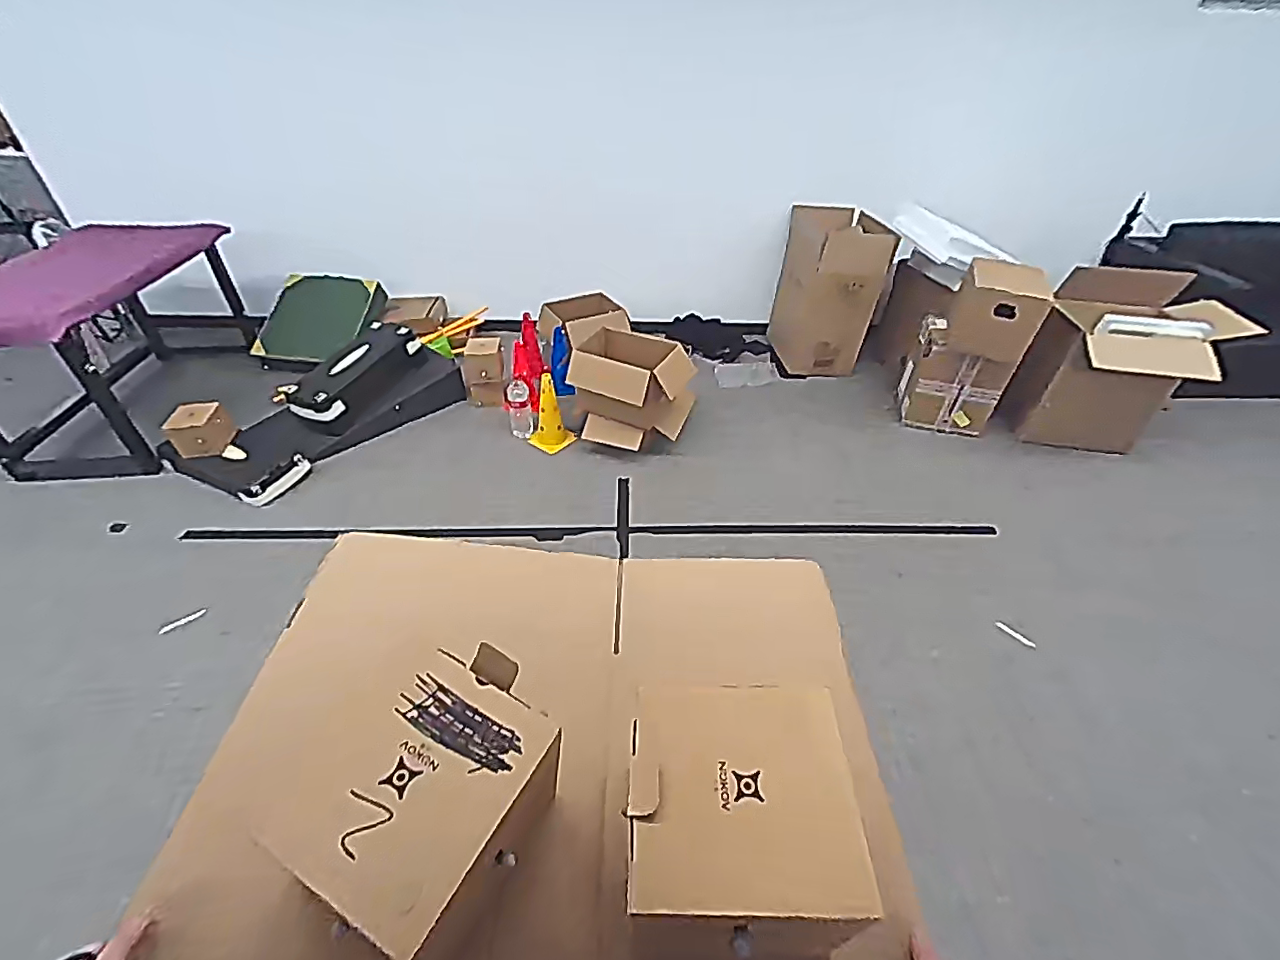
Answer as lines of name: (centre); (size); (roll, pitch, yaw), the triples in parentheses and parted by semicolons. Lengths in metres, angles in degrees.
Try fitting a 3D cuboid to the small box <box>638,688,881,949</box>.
small box: (0.088, 0.309, 0.495); (0.179, 0.176, 0.168); (-1, 42, 2)
